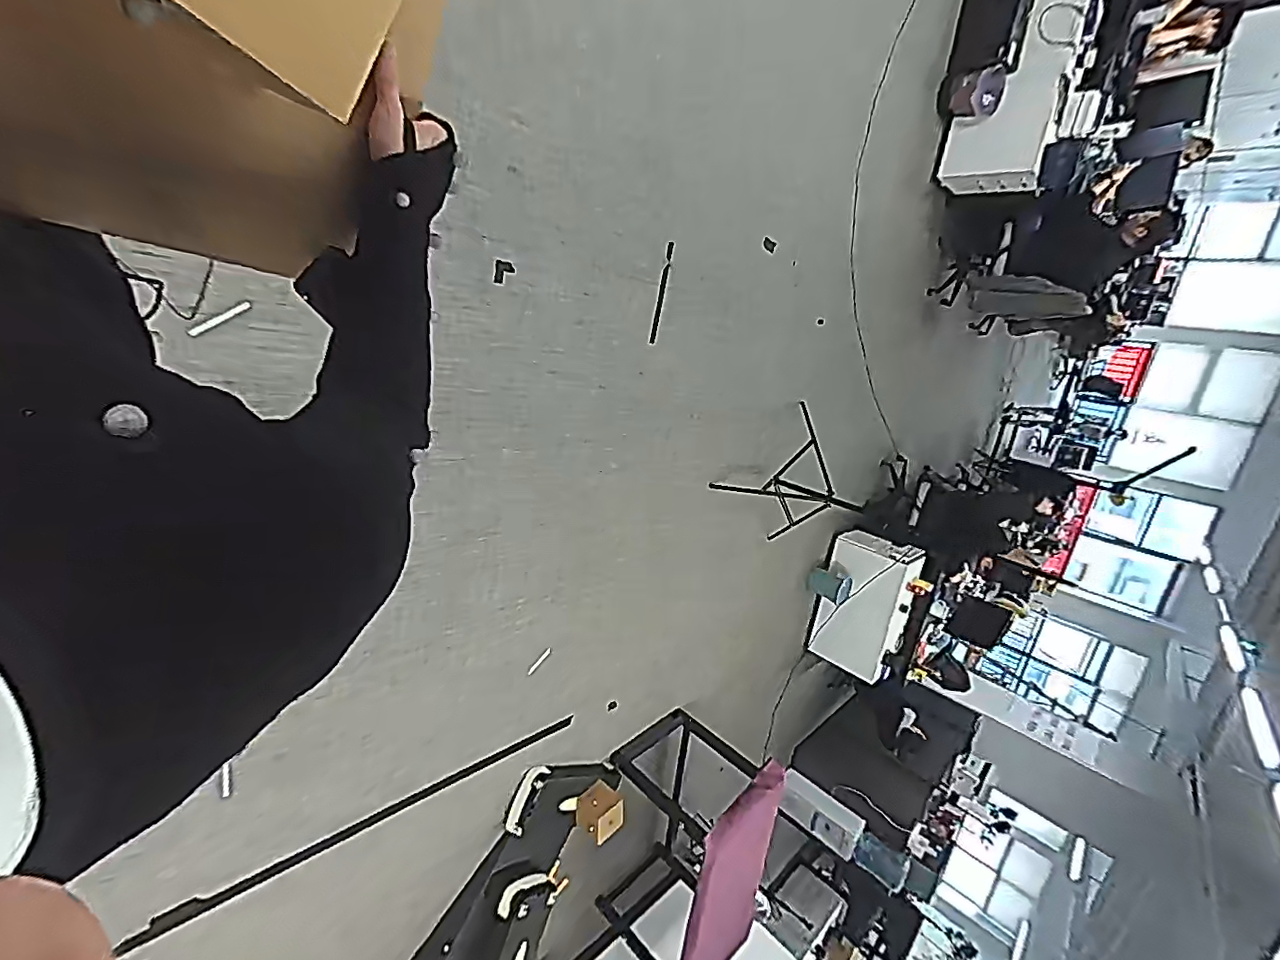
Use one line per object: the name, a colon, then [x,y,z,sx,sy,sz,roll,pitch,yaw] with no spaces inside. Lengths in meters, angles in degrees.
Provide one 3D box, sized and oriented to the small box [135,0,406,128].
small box: [-0.256,-0.362,0.324,0.179,0.176,0.168,17,108,-56]
